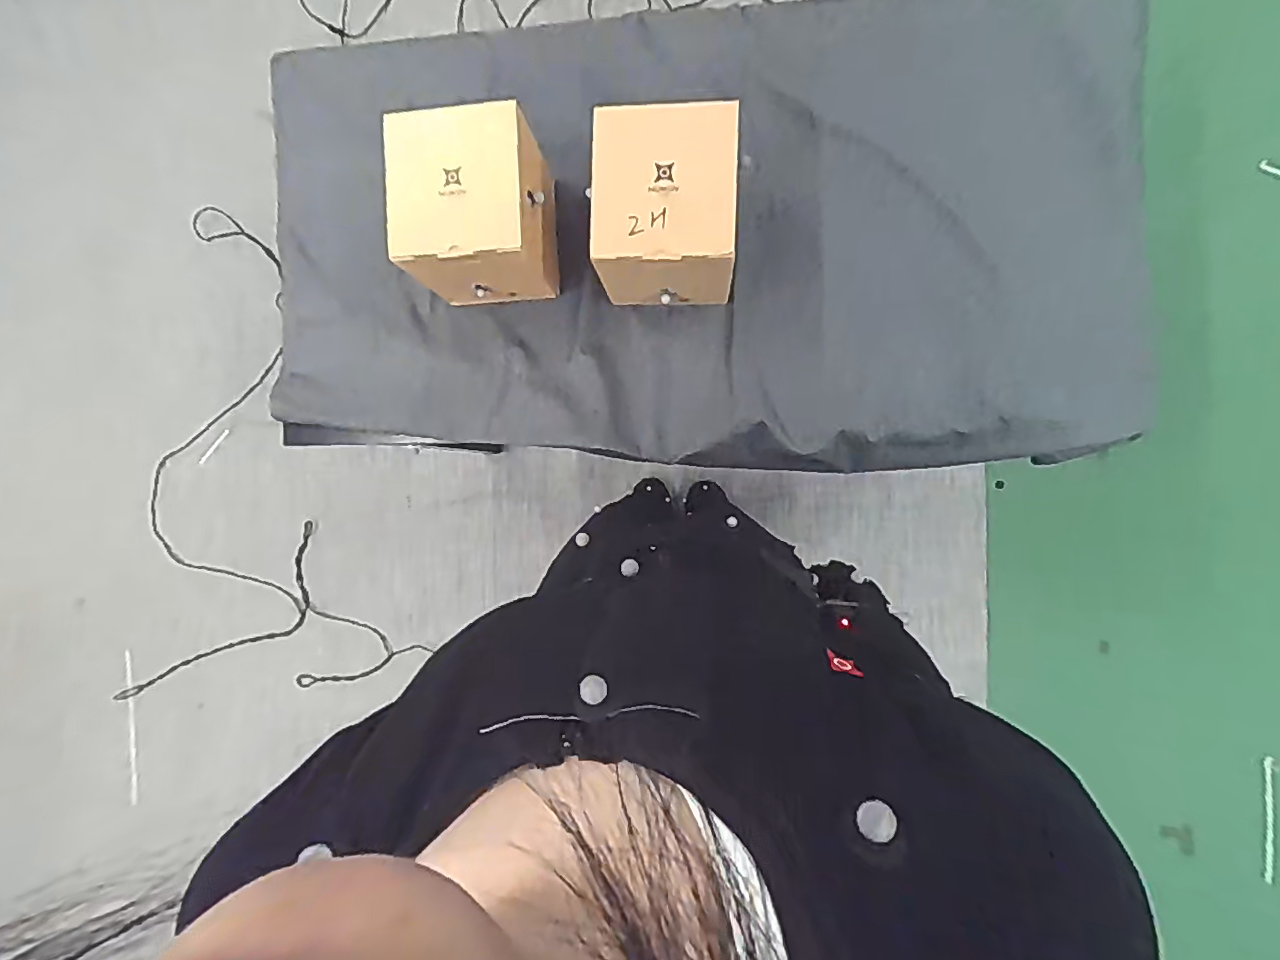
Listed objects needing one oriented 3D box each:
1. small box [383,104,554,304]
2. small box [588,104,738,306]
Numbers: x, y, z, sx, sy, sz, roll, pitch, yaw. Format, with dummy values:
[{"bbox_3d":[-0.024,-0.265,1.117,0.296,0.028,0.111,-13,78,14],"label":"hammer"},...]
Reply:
[{"bbox_3d":[-0.215,-0.349,0.715,0.168,0.176,0.179,-2,91,6],"label":"small box"},{"bbox_3d":[0.031,-0.335,0.687,0.168,0.176,0.179,2,91,6],"label":"small box"}]
